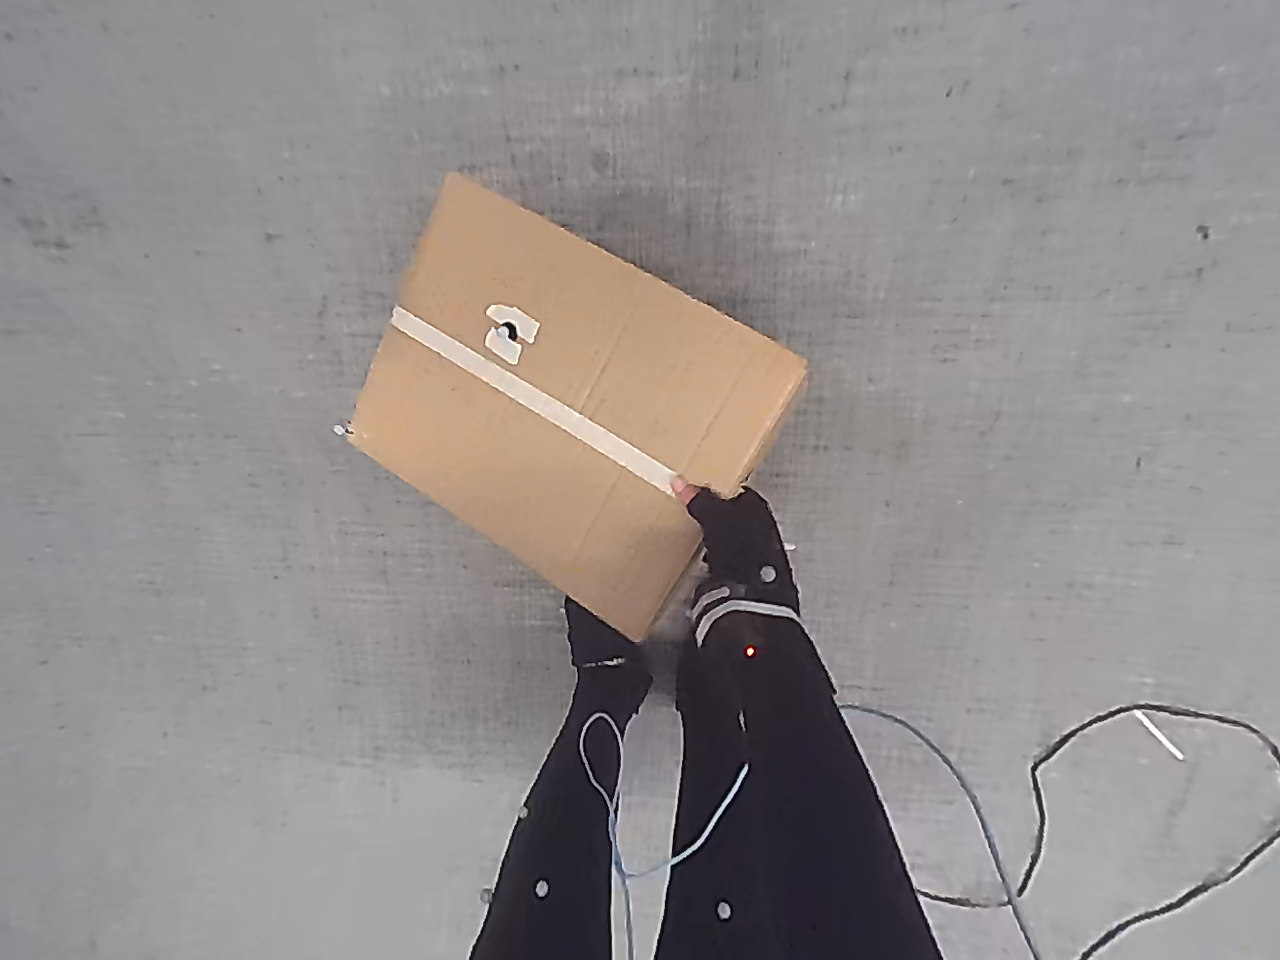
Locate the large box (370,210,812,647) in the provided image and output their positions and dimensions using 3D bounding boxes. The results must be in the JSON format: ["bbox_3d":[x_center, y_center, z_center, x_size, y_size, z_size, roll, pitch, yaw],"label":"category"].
[{"bbox_3d":[-0.037,-0.067,0.692,0.408,0.320,0.320,32,102,14],"label":"large box"}]
